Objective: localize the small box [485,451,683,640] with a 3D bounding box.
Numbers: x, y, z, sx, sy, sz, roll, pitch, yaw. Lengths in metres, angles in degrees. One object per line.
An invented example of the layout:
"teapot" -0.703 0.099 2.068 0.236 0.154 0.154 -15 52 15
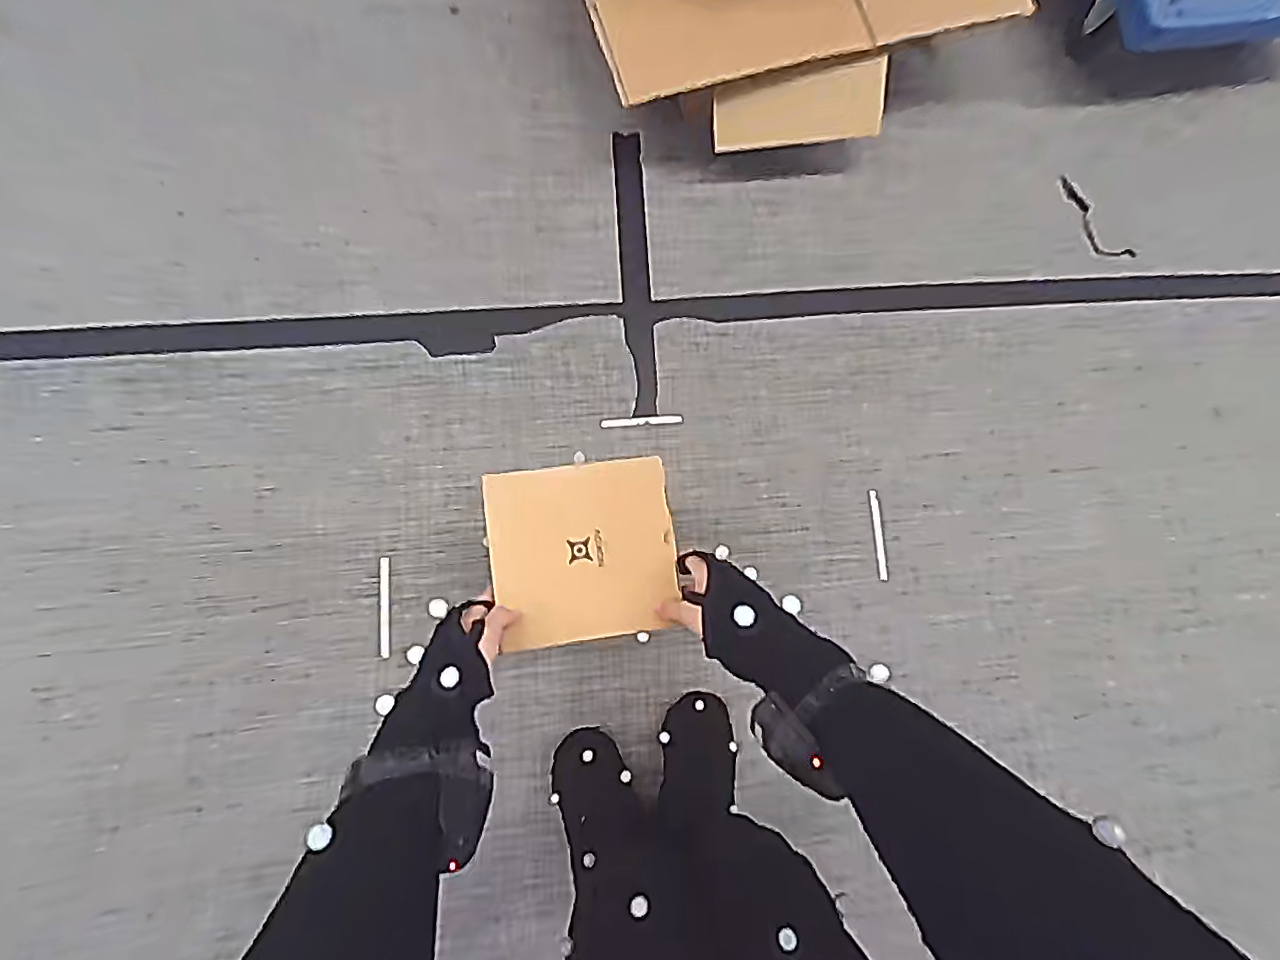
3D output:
"small box" -0.063 0.069 0.592 0.179 0.176 0.168 -7 84 -10
